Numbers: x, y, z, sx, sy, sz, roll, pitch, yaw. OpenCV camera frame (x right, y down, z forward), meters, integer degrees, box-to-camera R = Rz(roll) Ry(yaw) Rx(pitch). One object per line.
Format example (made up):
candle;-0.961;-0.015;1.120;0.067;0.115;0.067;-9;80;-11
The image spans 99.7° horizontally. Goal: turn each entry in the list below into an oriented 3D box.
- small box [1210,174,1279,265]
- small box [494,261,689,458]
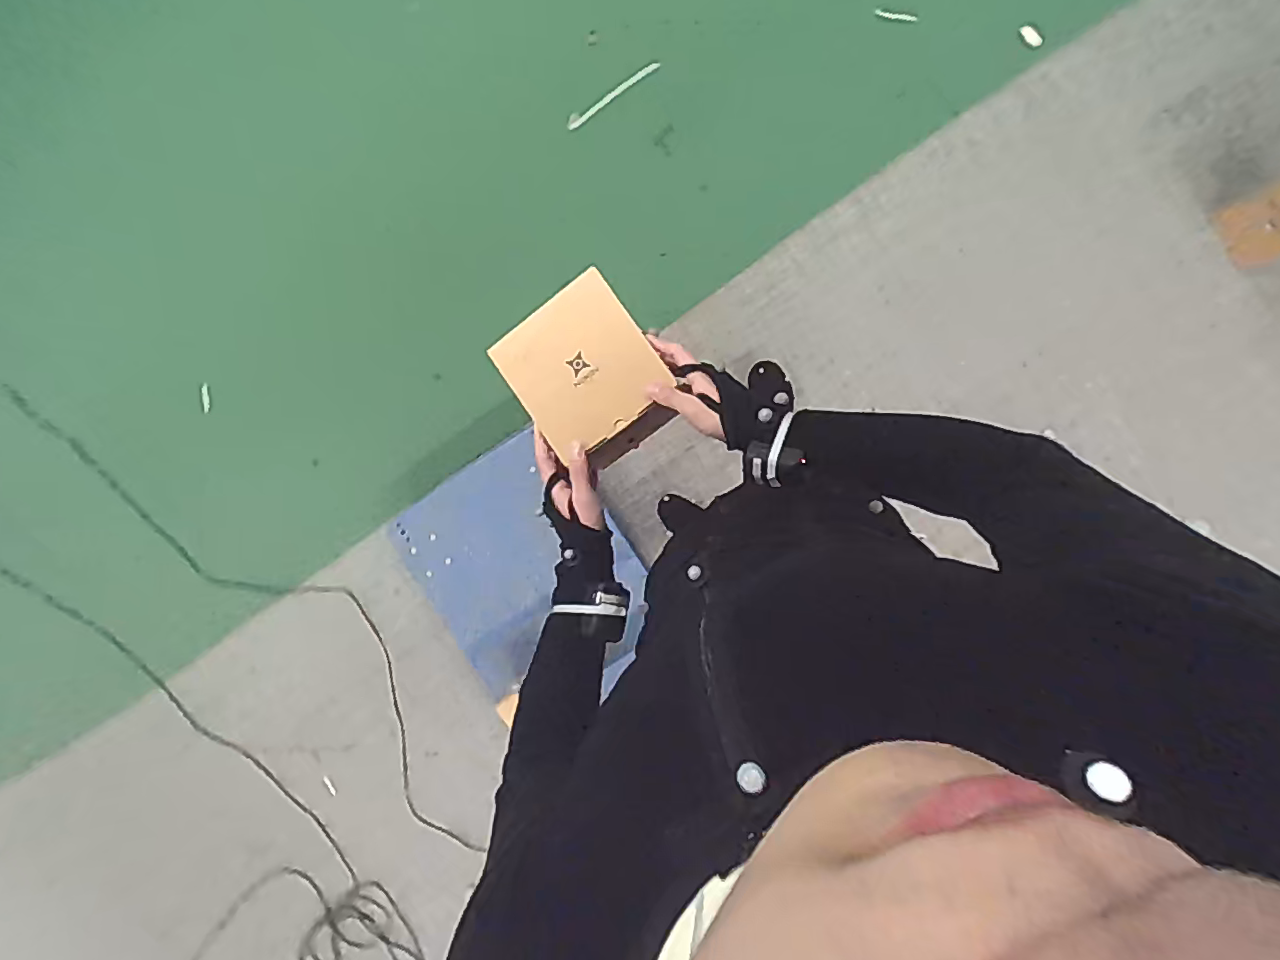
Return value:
small box;1.642;-0.687;1.383;0.168;0.176;0.179;-29;90;7
small box;-0.051;-0.139;0.701;0.168;0.176;0.179;-34;87;8
